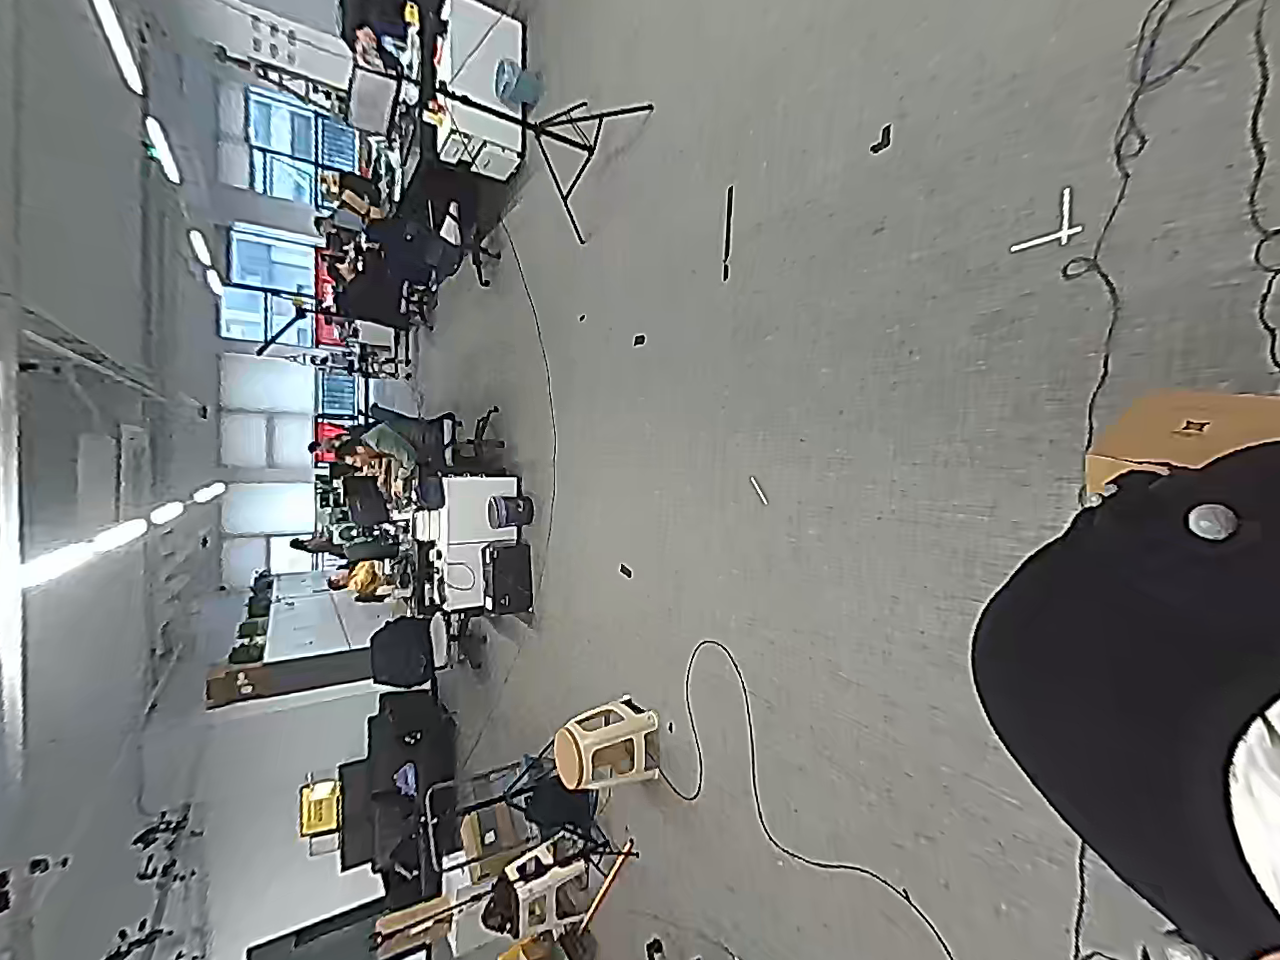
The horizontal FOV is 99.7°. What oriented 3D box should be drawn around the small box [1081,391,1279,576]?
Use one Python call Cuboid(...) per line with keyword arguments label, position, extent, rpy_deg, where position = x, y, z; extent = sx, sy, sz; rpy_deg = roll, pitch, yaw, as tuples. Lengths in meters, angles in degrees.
Cuboid(label="small box", position=(0.739, 0.000, 0.733), extent=(0.168, 0.179, 0.176), rpy_deg=(23, 144, 55))
